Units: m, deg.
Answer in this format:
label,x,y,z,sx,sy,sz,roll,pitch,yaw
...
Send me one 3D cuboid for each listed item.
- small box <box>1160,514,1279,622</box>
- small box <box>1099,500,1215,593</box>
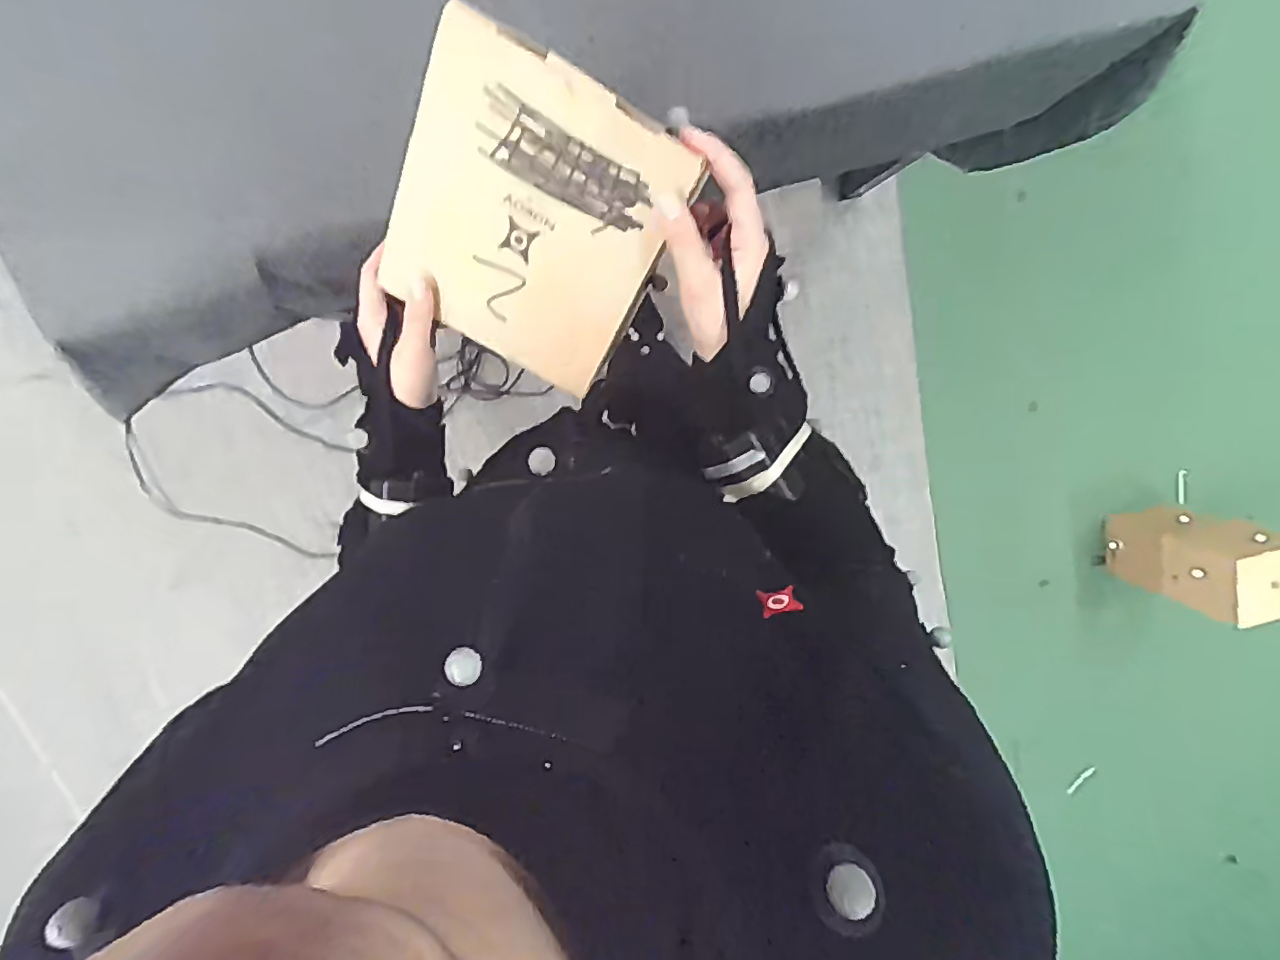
label,x,y,z,sx,sy,sz,roll,pitch,yaw
small box,1.338,0.193,1.229,0.179,0.176,0.168,-16,103,1
small box,1.337,0.163,1.390,0.179,0.176,0.168,-15,103,2
